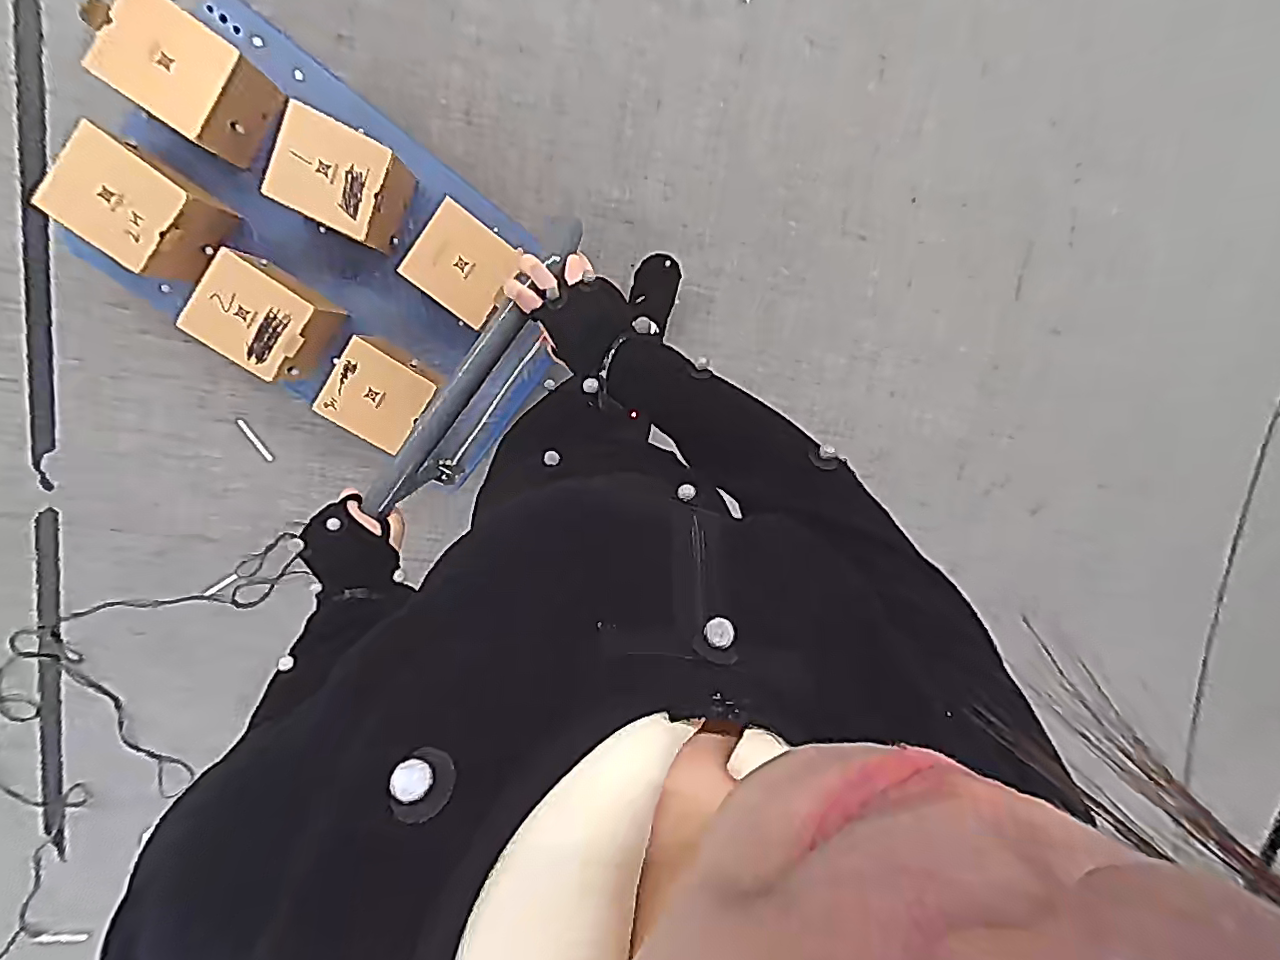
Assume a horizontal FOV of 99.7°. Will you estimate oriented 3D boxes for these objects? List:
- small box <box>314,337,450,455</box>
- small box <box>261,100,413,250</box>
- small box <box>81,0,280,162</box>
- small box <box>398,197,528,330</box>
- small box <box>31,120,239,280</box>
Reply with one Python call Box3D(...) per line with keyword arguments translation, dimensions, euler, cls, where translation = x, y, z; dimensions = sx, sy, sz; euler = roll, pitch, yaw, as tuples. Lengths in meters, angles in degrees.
Box3D(translation=(-0.511, -0.176, 1.103), dimensions=(0.179, 0.176, 0.168), euler=(32, 96, -15), cls="small box")
Box3D(translation=(-0.548, -0.549, 1.005), dimensions=(0.179, 0.176, 0.168), euler=(23, 99, -13), cls="small box")
Box3D(translation=(-0.772, -0.687, 0.933), dimensions=(0.179, 0.176, 0.168), euler=(32, 97, -15), cls="small box")
Box3D(translation=(-0.337, -0.417, 1.074), dimensions=(0.179, 0.176, 0.168), euler=(36, 95, -15), cls="small box")
Box3D(translation=(-0.882, -0.480, 0.964), dimensions=(0.179, 0.176, 0.168), euler=(37, 95, -17), cls="small box")
